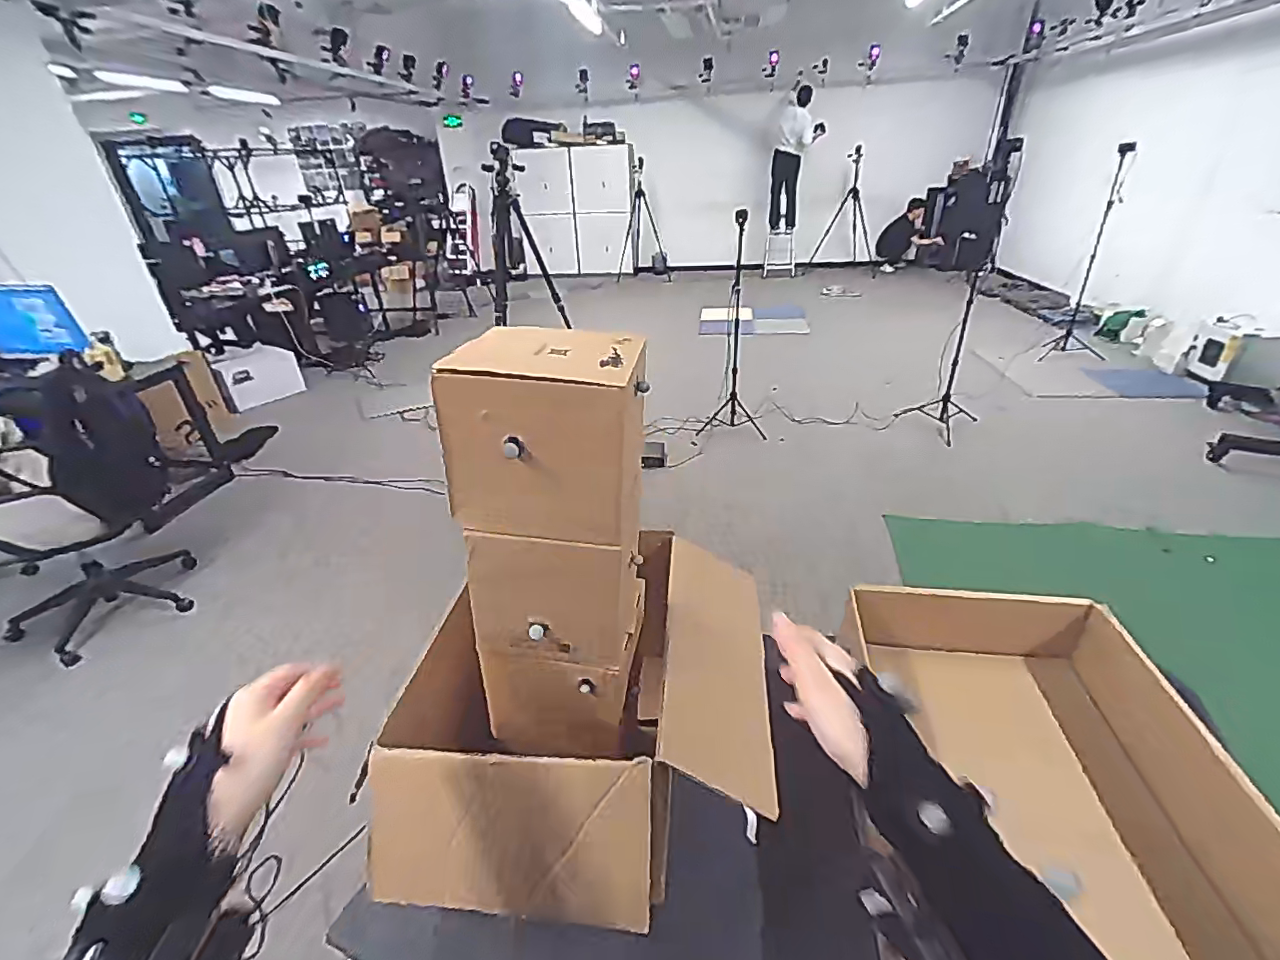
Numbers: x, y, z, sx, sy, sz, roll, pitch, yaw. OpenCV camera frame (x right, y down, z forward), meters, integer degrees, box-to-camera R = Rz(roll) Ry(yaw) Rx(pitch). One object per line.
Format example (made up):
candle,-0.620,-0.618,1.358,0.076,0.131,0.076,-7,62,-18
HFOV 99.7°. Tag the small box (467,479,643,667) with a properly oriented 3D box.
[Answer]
small box,-0.091,0.092,0.650,0.168,0.176,0.179,5,30,5

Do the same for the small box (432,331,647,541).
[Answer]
small box,-0.089,-0.052,0.571,0.179,0.176,0.168,5,30,5
